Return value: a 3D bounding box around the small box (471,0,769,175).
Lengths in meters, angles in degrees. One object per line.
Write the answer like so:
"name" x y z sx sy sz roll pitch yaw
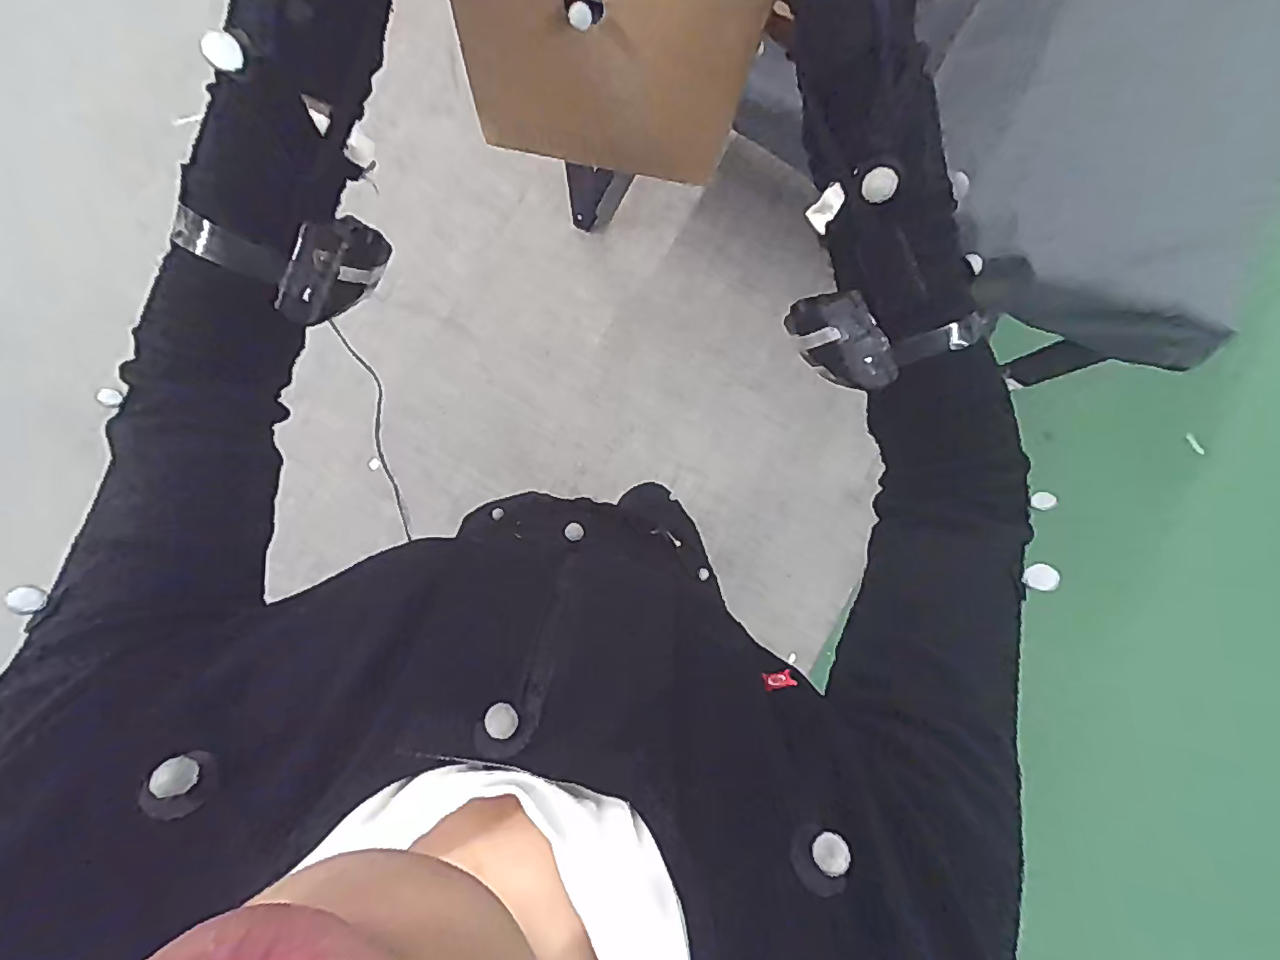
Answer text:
"small box" -0.009 -0.333 0.347 0.179 0.176 0.168 9 82 -5
